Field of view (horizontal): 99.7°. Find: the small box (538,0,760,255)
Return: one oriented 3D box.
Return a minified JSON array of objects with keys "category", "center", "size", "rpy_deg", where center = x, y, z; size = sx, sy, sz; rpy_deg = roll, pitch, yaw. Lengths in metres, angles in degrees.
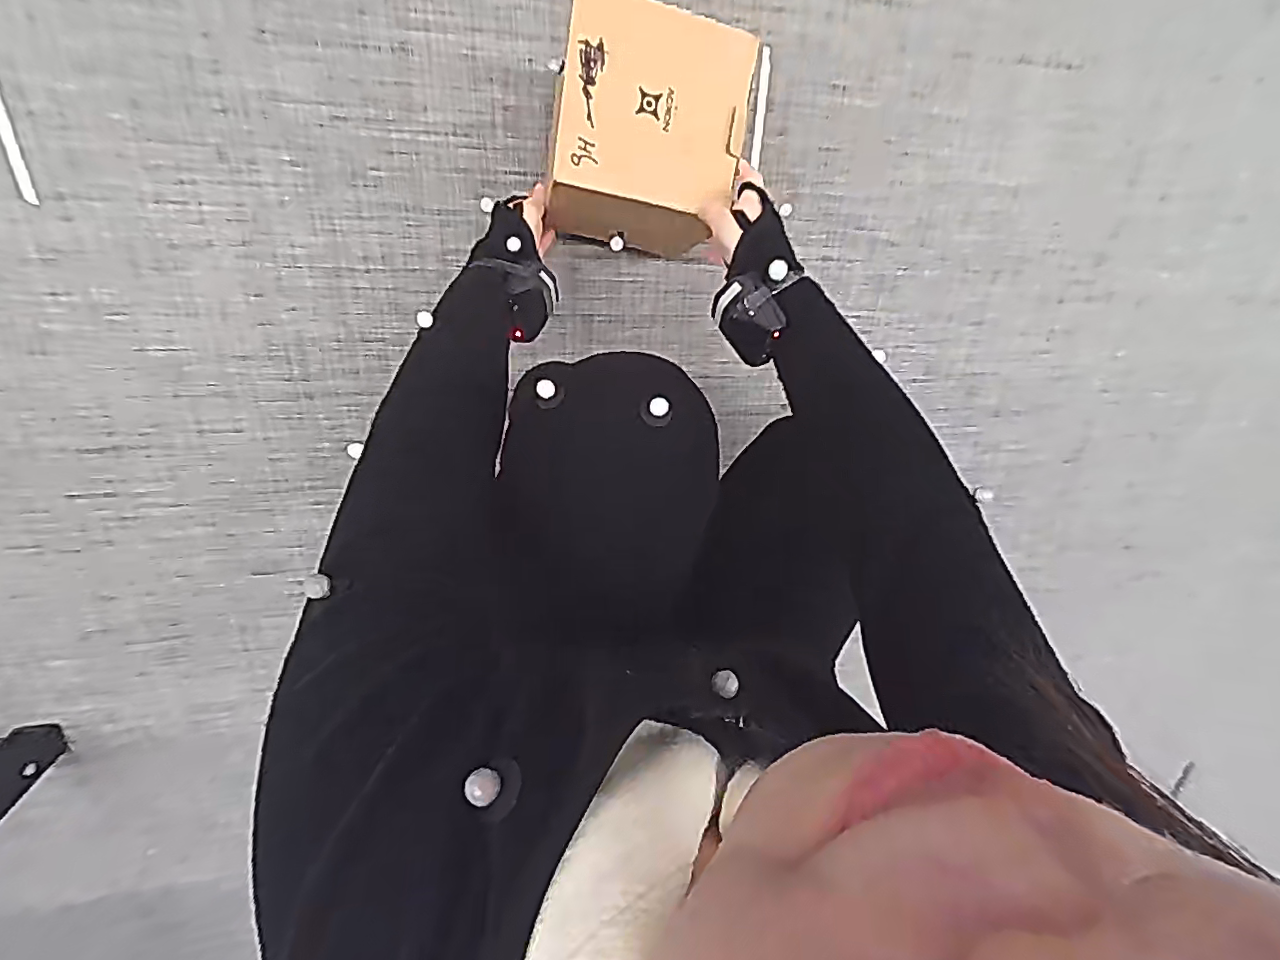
[{"category":"small box","center":[-0.004,-0.347,0.564],"size":[0.179,0.176,0.168],"rpy_deg":[7,100,-16]}]
